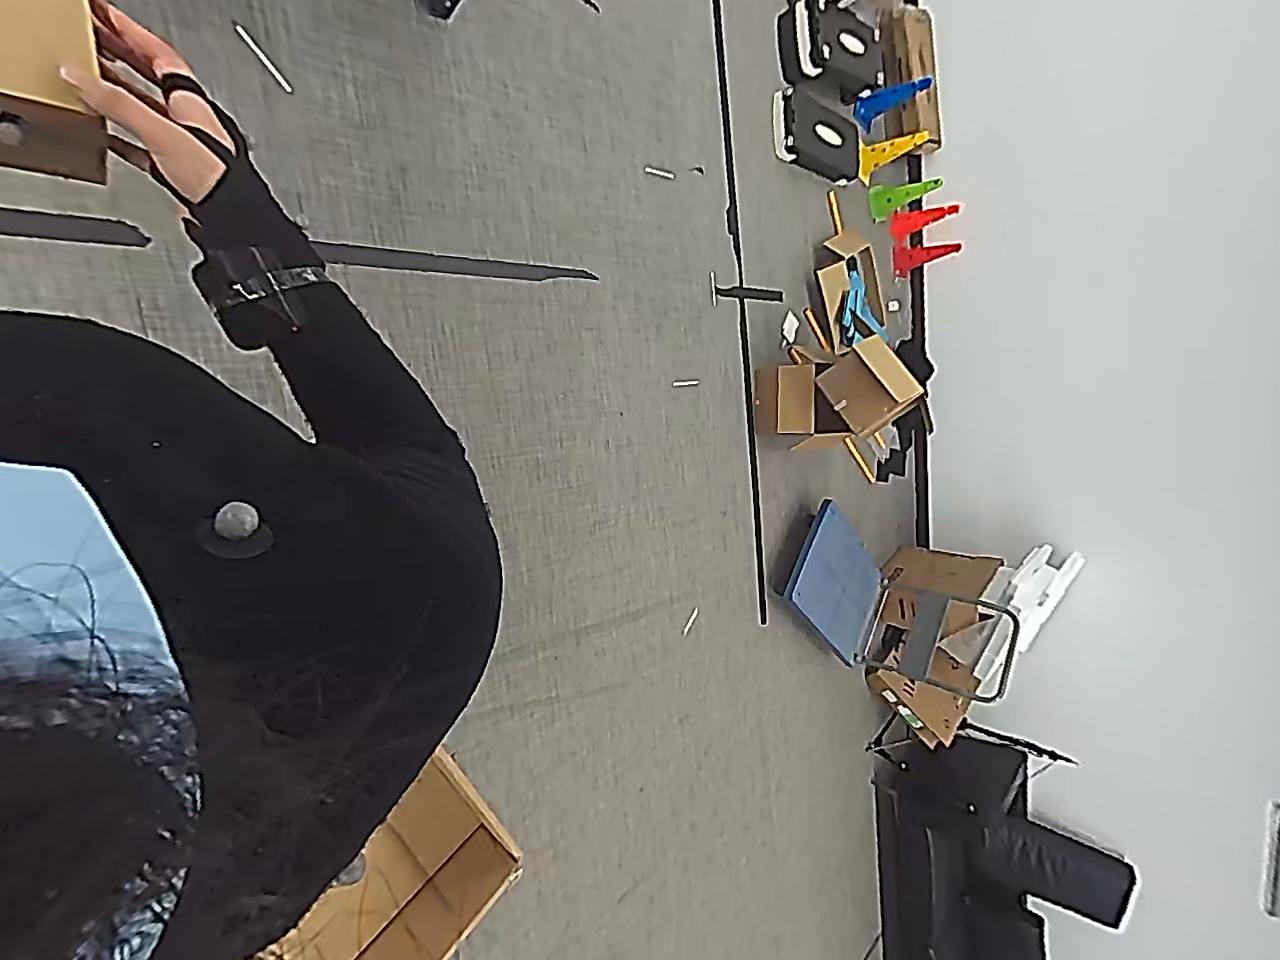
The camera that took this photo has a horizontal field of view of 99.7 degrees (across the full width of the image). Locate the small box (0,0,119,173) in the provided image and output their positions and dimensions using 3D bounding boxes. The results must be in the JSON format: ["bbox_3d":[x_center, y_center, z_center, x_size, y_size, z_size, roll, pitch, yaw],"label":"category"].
[{"bbox_3d":[-0.462,-0.318,0.341,0.179,0.176,0.168,-9,103,-43],"label":"small box"}]
